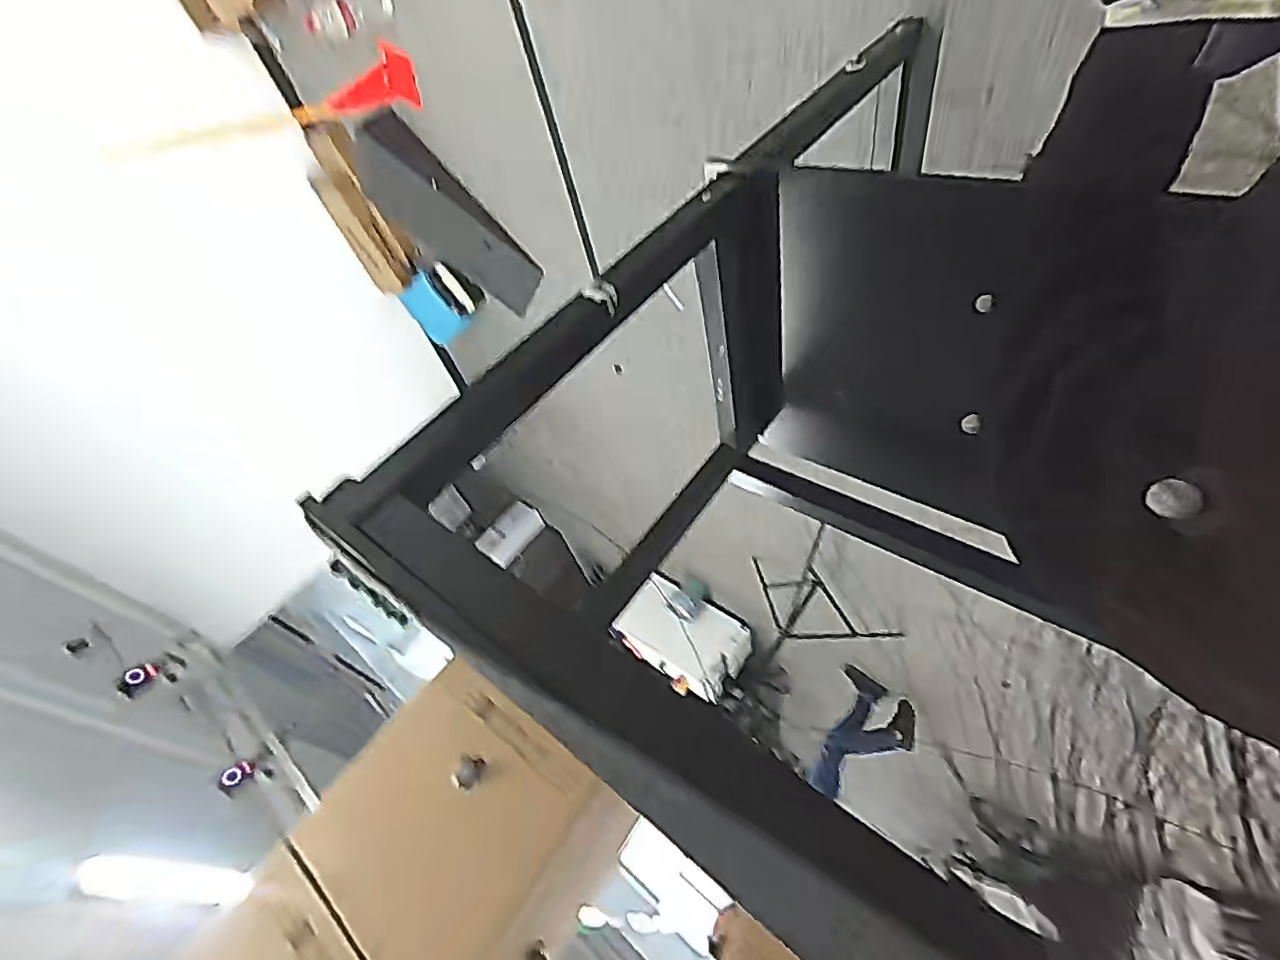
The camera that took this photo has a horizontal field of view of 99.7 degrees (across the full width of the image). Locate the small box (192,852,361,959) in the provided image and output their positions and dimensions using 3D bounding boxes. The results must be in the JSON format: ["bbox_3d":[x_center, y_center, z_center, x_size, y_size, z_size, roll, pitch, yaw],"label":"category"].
[{"bbox_3d":[-0.220,0.393,0.376,0.168,0.176,0.179,27,153,30],"label":"small box"}]

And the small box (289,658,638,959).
[{"bbox_3d":[-0.121,0.279,0.439,0.168,0.176,0.179,25,152,30],"label":"small box"}]
